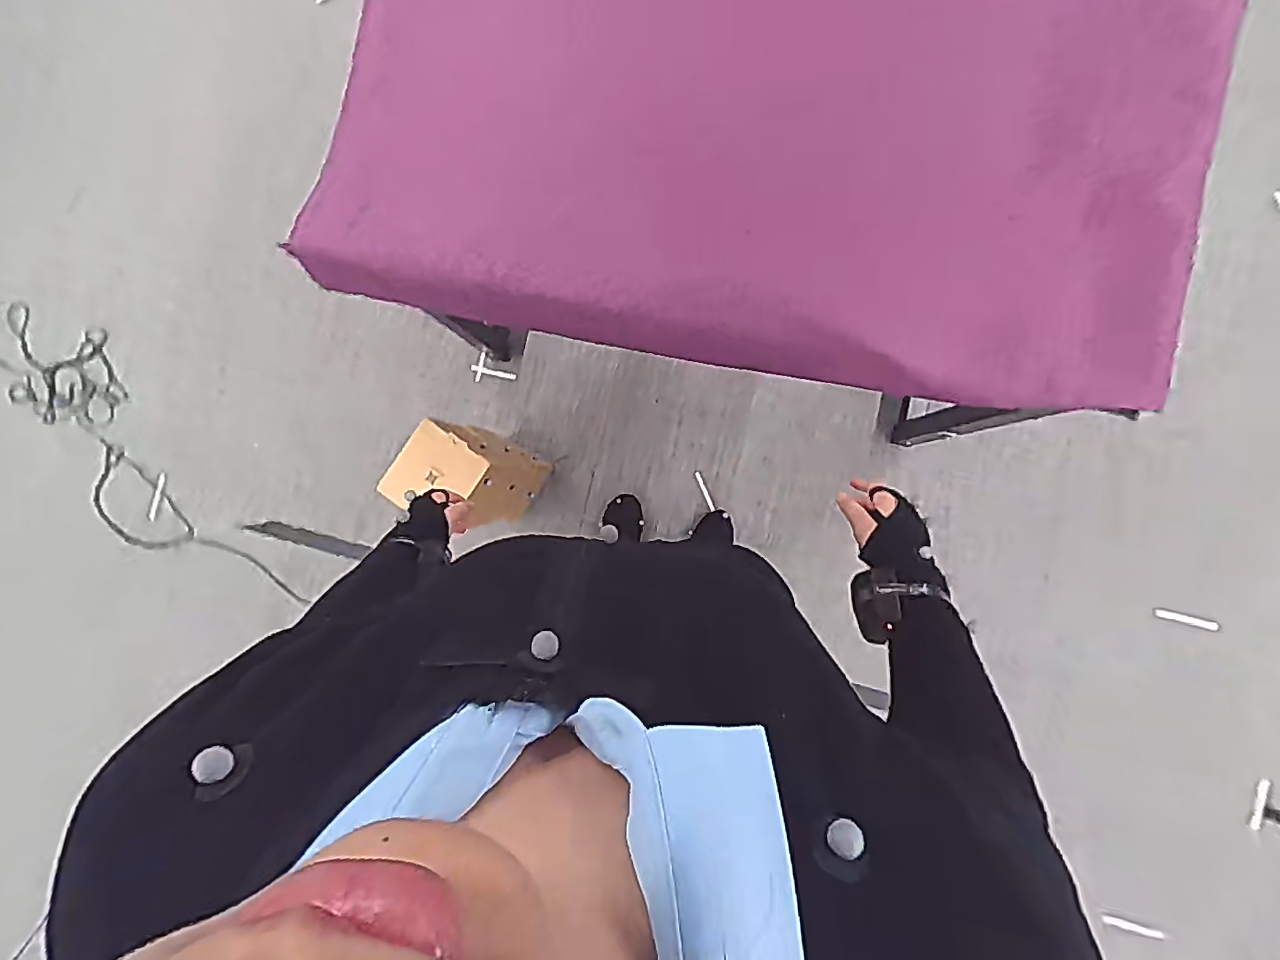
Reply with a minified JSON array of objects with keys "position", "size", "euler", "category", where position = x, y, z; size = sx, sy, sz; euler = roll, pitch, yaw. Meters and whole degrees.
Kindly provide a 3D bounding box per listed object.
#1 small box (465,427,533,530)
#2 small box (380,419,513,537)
[{"position":[-0.375,-0.004,1.291],"size":[0.168,0.176,0.179],"euler":[41,93,4],"category":"small box"},{"position":[-0.392,-0.003,1.129],"size":[0.168,0.176,0.179],"euler":[34,91,4],"category":"small box"}]
